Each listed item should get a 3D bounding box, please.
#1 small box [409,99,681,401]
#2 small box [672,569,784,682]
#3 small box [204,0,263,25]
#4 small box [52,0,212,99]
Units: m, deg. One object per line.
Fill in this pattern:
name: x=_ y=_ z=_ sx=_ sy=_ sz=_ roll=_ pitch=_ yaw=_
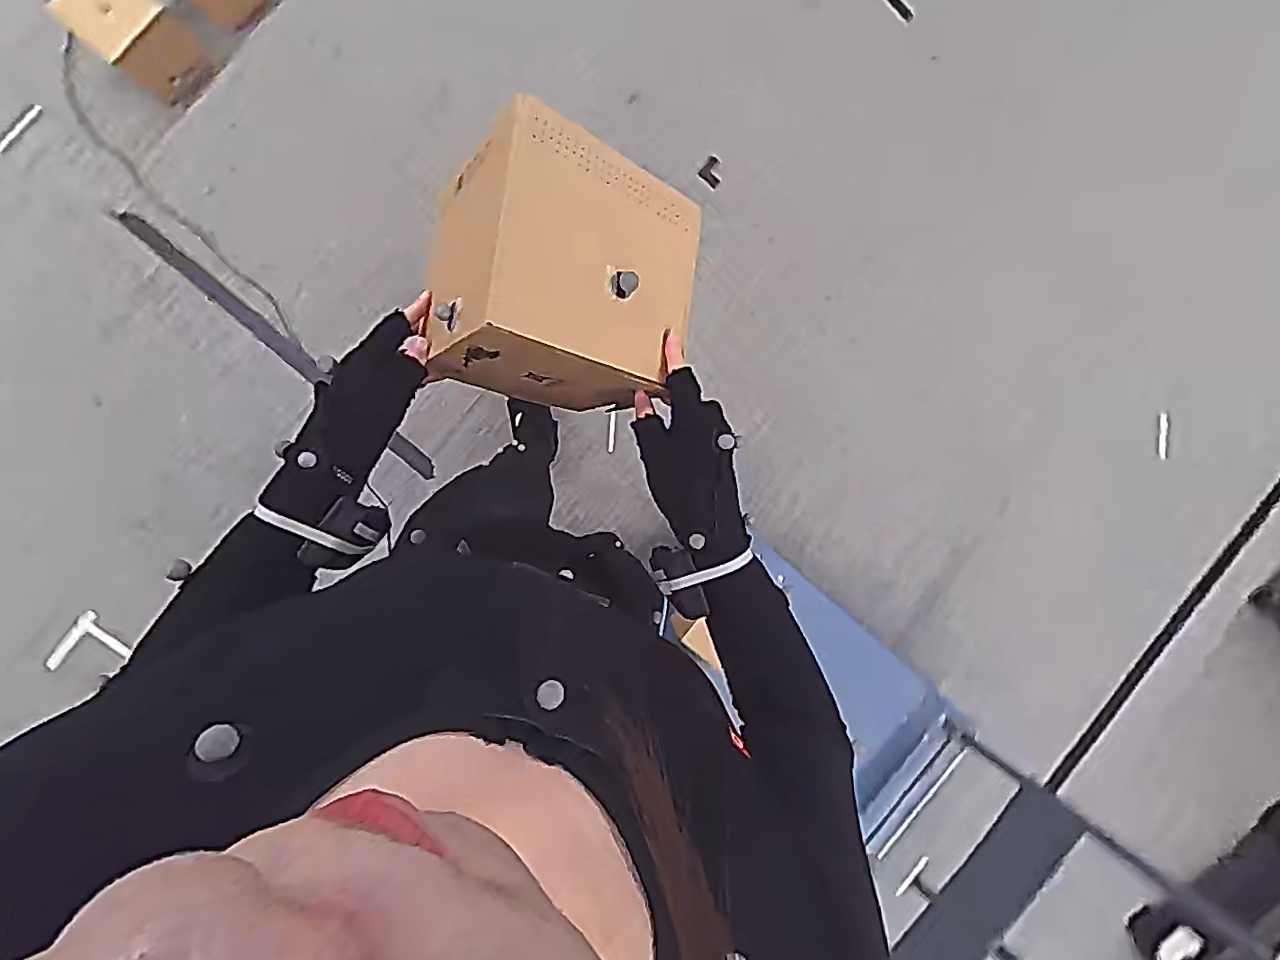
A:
small box: x=-0.080 y=-0.175 z=0.470 sx=0.179 sy=0.168 sz=0.176 roll=8 pitch=84 yaw=-38
small box: x=0.195 y=0.327 z=1.262 sx=0.179 sy=0.176 sz=0.168 roll=40 pitch=89 yaw=-6
small box: x=-1.020 y=-1.250 z=1.280 sx=0.168 sy=0.176 sz=0.179 roll=43 pitch=87 yaw=-5
small box: x=-1.179 y=-1.057 z=1.271 sx=0.179 sy=0.176 sz=0.168 roll=42 pitch=89 yaw=-6
